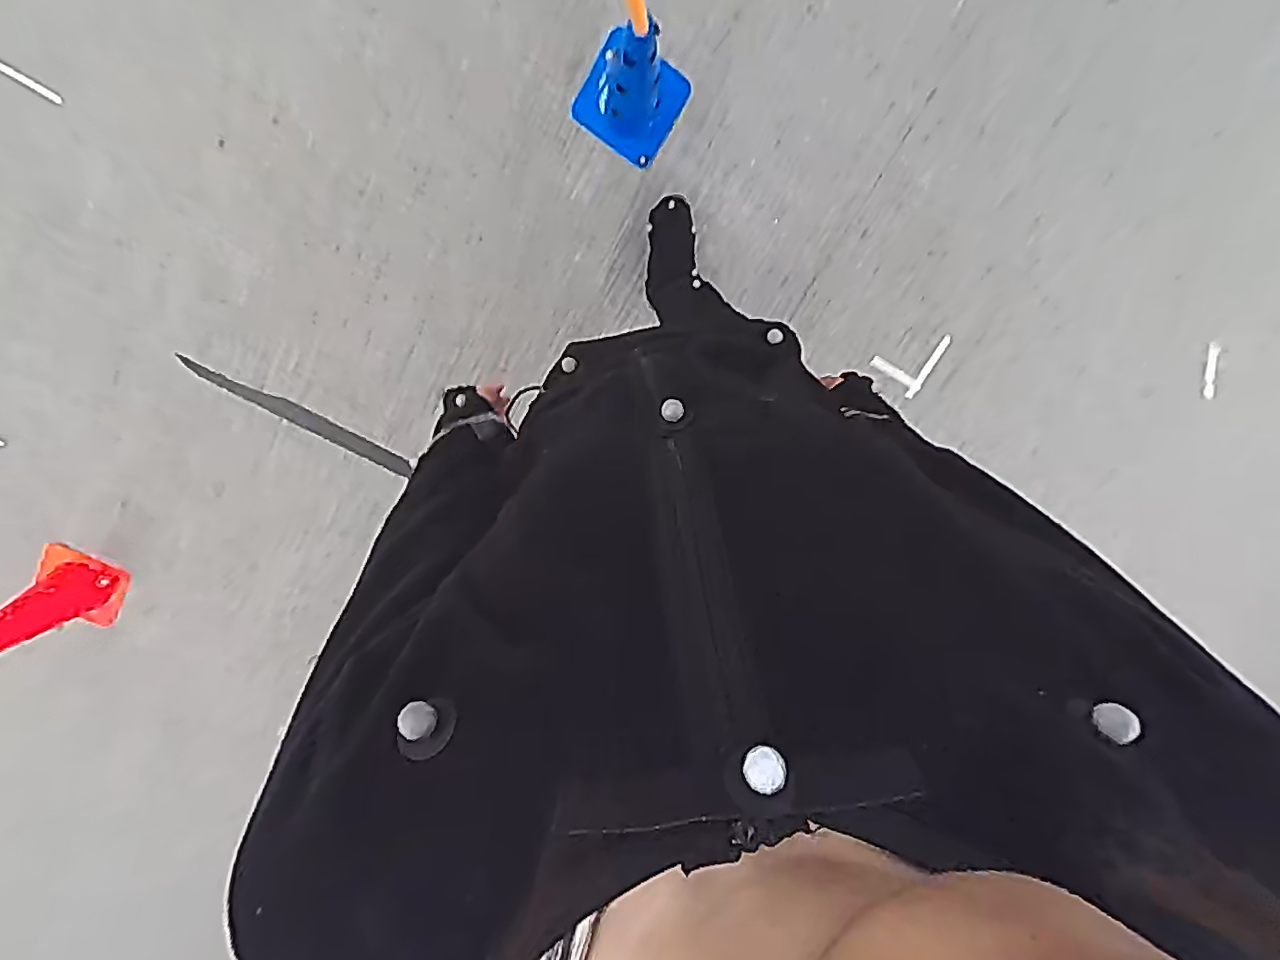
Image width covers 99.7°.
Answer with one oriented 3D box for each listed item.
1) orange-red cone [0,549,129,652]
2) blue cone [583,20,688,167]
[{"bbox_3d":[-1.462,0.347,1.257,0.199,0.360,0.198,32,104,-13],"label":"orange-red cone"},{"bbox_3d":[0.001,-0.750,1.000,0.192,0.380,0.193,32,104,-14],"label":"blue cone"}]
